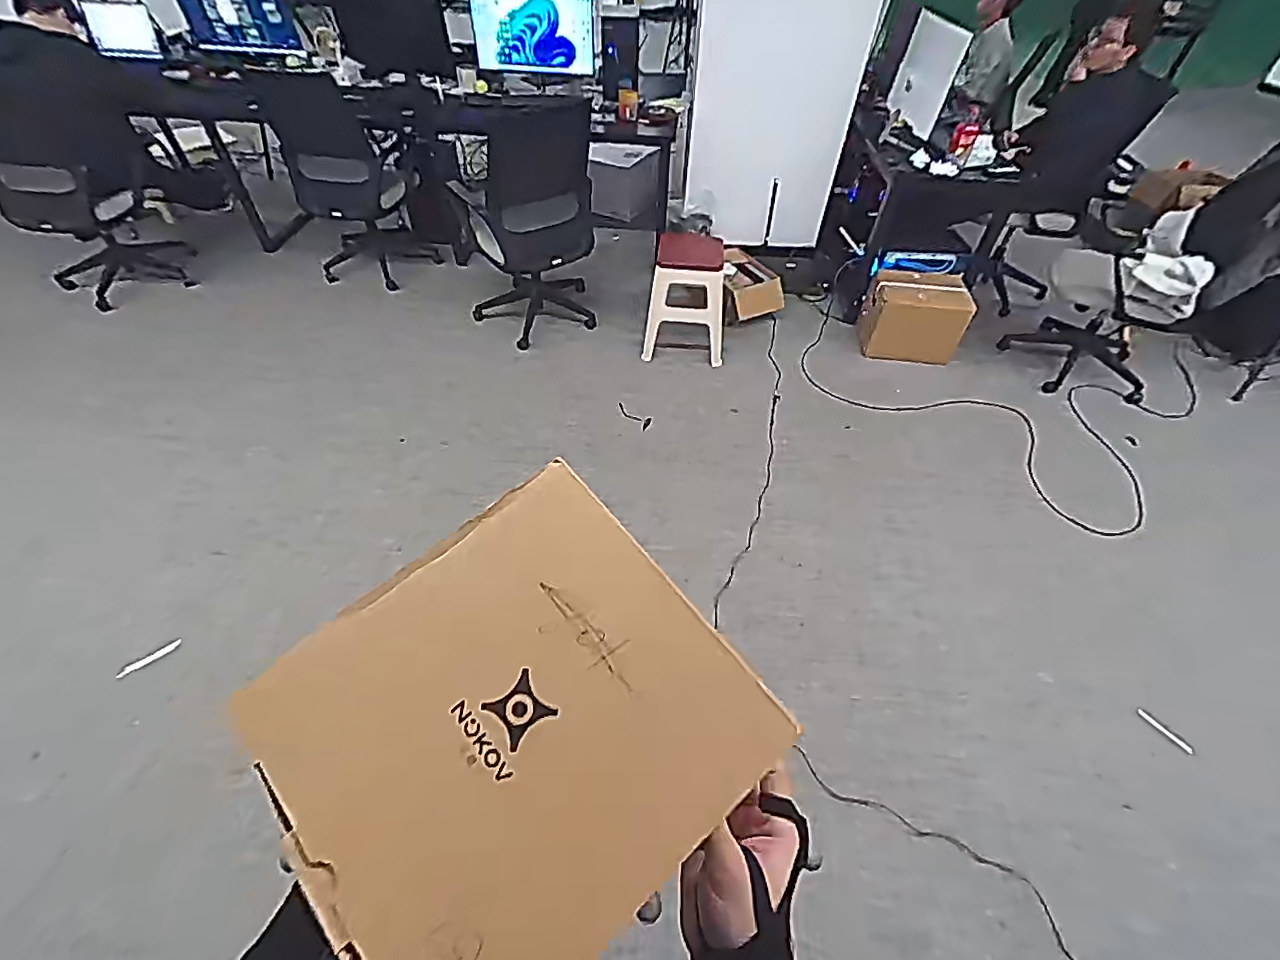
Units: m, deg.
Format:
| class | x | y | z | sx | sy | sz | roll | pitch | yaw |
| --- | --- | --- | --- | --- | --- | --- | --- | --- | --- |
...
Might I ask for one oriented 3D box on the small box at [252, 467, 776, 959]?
| class | x | y | z | sx | sy | sz | roll | pitch | yaw |
| --- | --- | --- | --- | --- | --- | --- | --- | --- | --- |
| small box | -0.056 | 0.131 | 0.309 | 0.179 | 0.176 | 0.168 | -38 | 72 | -18 |
